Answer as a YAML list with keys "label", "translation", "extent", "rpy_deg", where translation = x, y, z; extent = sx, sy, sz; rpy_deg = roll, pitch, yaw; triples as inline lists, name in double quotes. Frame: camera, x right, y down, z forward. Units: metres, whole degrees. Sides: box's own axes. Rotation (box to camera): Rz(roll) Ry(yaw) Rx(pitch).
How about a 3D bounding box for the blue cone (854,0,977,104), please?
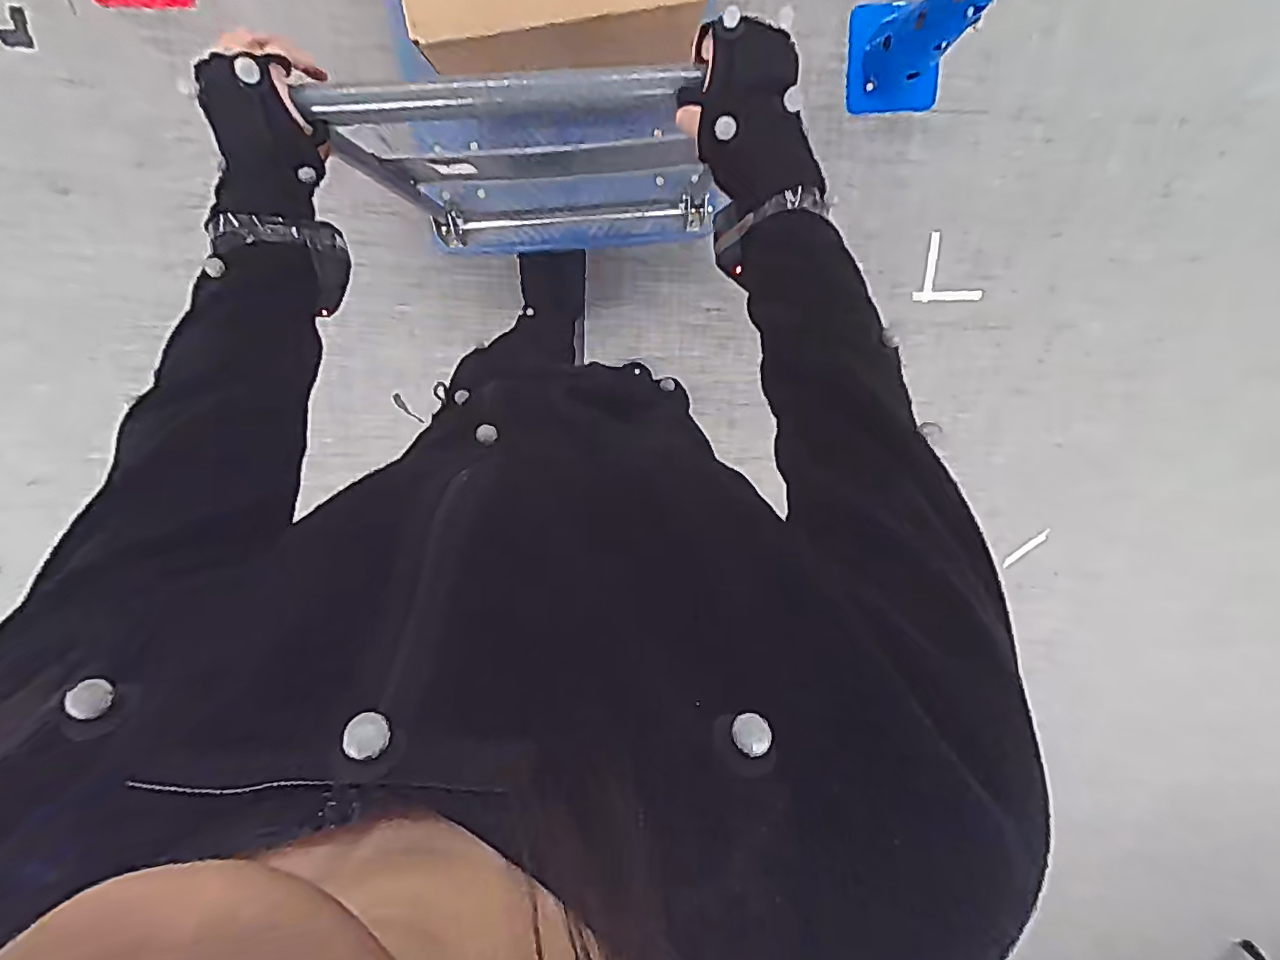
- label: "blue cone"
  translation: [0.558, -0.861, 0.996]
  extent: [0.193, 0.380, 0.192]
  rpy_deg: [-3, 109, -2]
